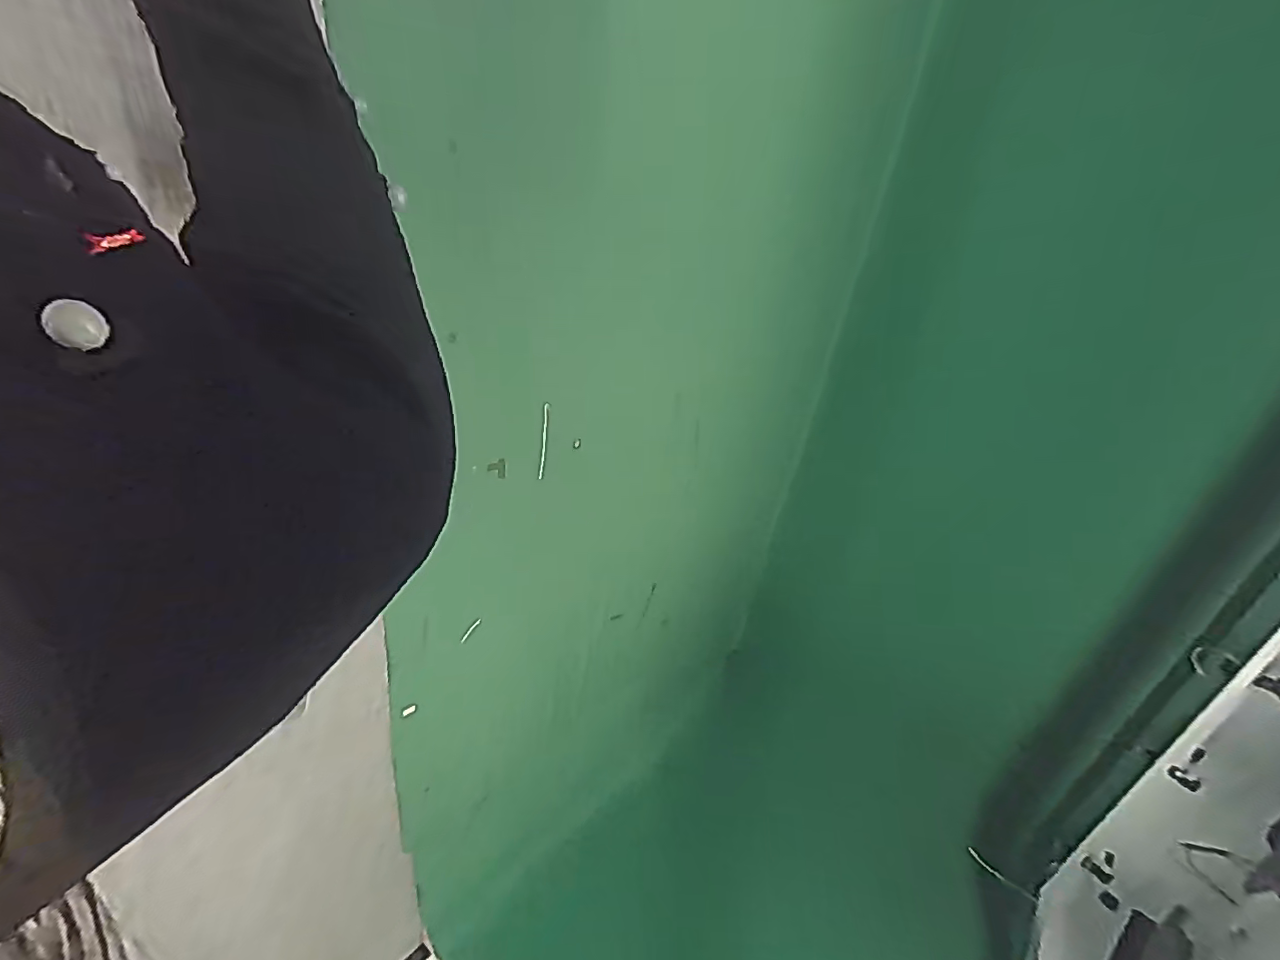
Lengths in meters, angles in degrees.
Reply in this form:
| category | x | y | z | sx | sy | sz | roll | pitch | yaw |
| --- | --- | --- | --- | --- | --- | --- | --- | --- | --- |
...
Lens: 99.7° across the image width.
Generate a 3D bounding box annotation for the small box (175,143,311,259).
| category | x | y | z | sx | sy | sz | roll | pitch | yaw |
| --- | --- | --- | --- | --- | --- | --- | --- | --- | --- |
| small box | -0.779 | -0.549 | 1.066 | 0.179 | 0.176 | 0.168 | -13 | 122 | -49 |
